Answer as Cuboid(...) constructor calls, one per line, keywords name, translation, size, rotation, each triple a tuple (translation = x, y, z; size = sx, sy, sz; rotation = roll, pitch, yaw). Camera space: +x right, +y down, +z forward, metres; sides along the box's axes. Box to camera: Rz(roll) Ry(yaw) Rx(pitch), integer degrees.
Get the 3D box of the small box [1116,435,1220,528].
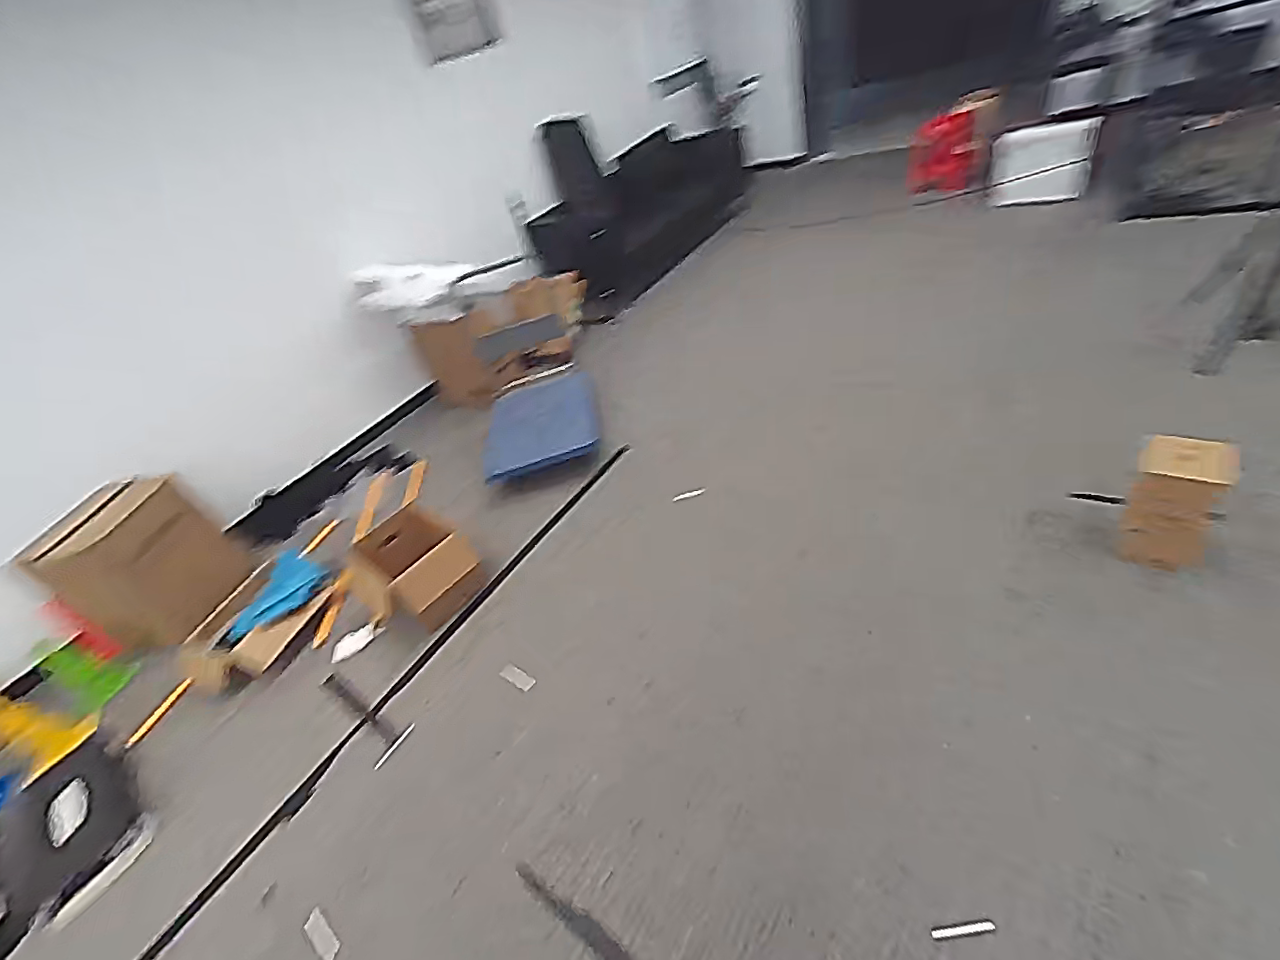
Cuboid(name="small box", translation=(1.442, 0.004, 1.483), size=(0.168, 0.176, 0.179), rotation=(17, 50, 38))
